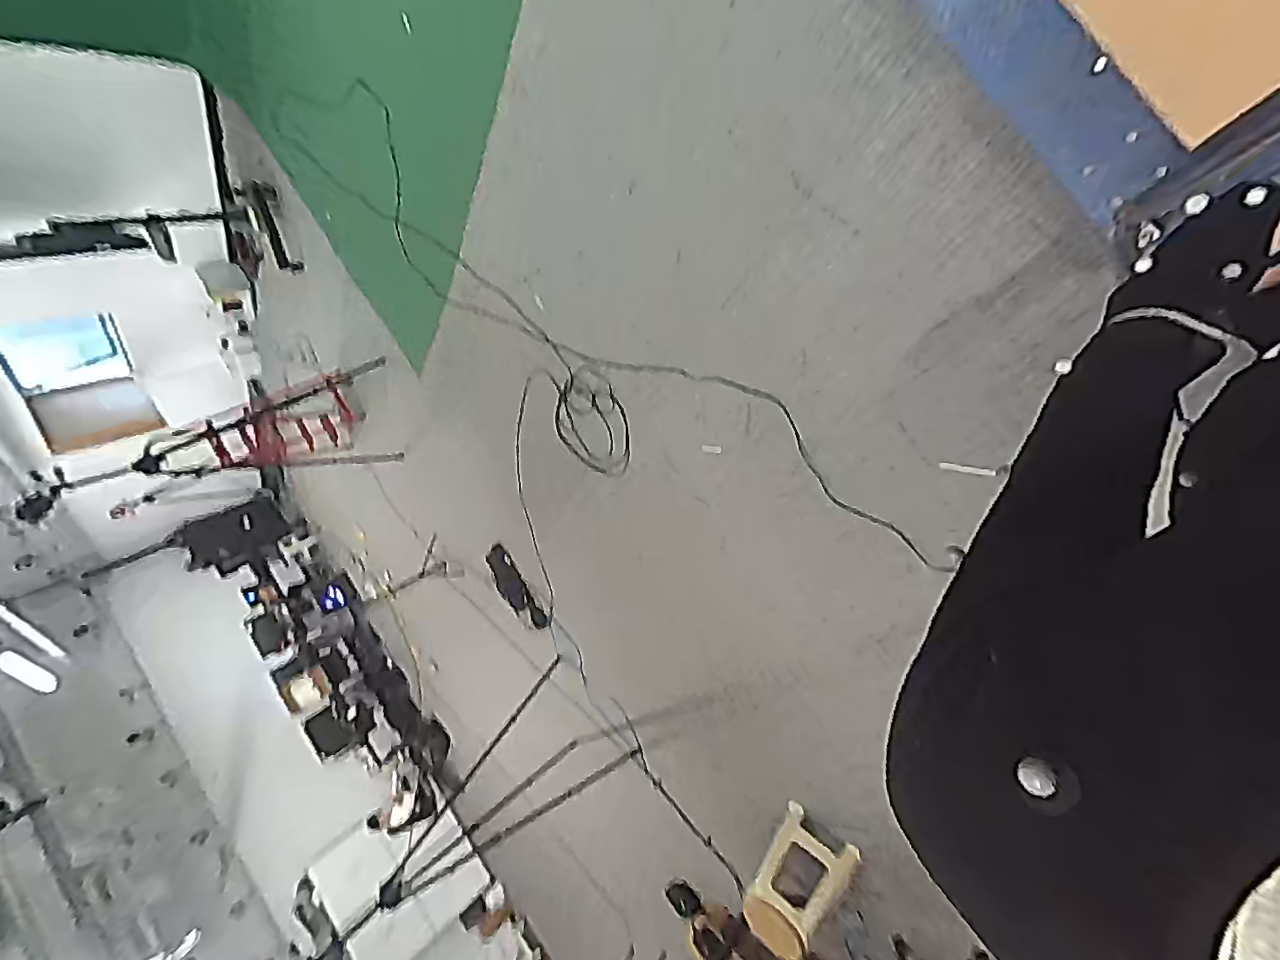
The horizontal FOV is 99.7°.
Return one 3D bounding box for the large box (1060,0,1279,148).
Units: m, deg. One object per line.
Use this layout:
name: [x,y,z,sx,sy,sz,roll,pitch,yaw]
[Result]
large box: [0.828,-0.740,0.744,0.408,0.320,0.320,57,139,6]
